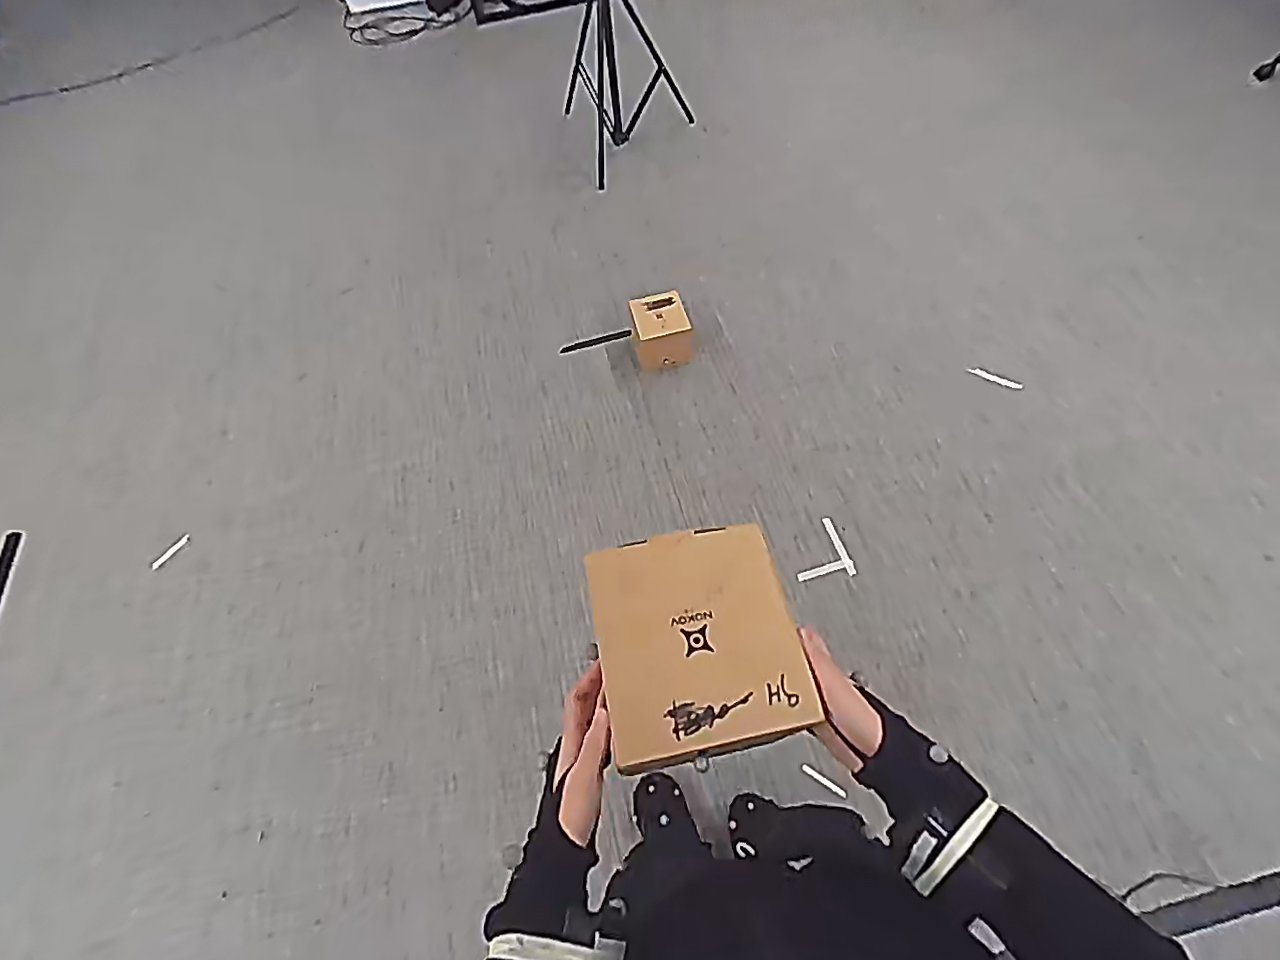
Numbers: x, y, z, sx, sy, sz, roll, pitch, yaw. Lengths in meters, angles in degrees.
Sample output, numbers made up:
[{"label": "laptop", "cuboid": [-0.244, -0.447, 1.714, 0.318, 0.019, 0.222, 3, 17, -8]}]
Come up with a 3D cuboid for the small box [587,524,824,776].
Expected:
[{"label": "small box", "cuboid": [0.044, 0.165, 0.514, 0.168, 0.176, 0.179, -9, 60, -6]}]
